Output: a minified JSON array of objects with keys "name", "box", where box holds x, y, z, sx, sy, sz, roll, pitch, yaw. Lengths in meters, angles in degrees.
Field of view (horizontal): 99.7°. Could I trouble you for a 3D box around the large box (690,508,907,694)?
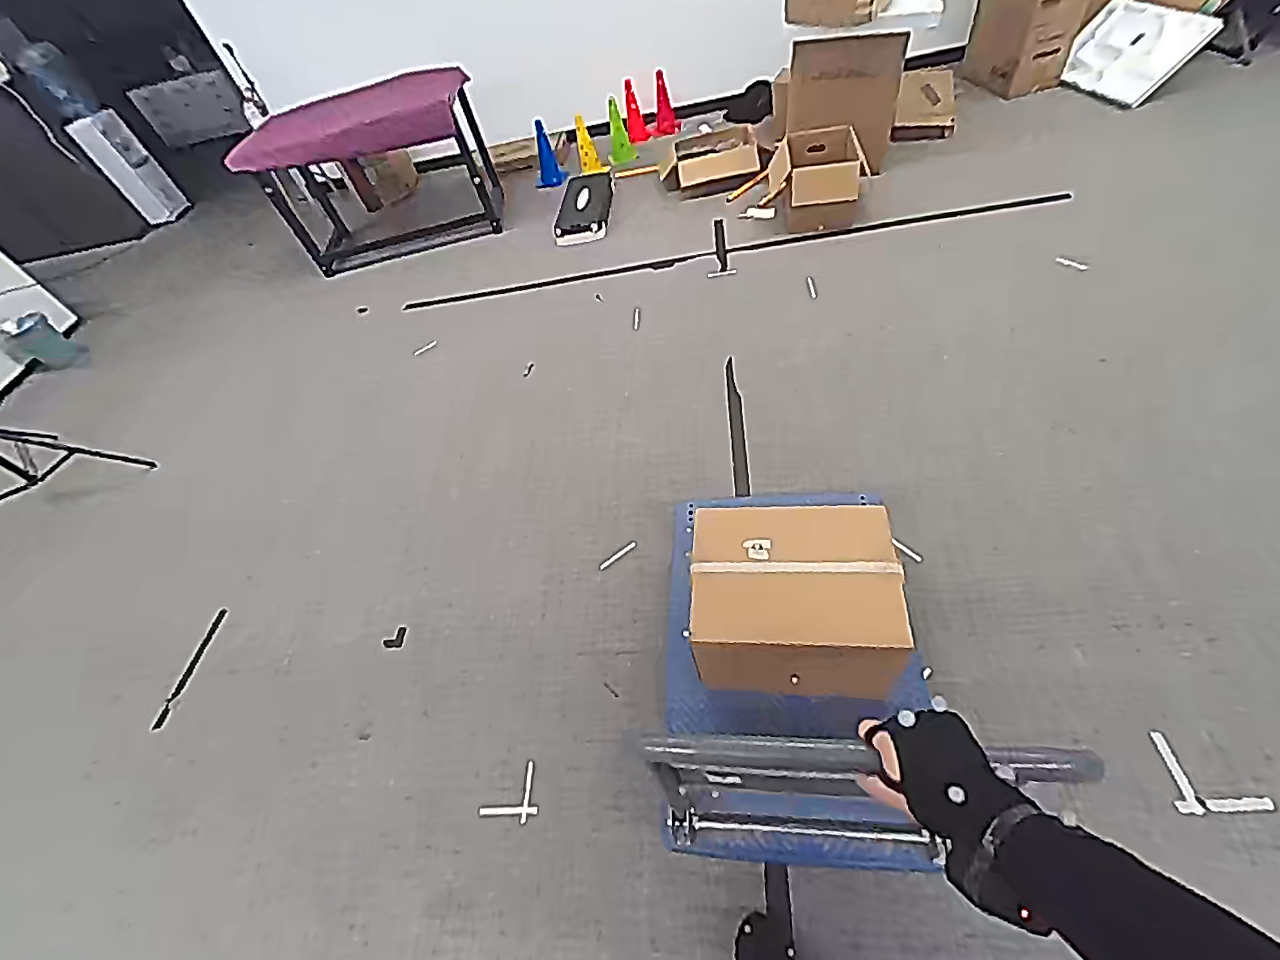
[{"name":"large box","box":[0.336,0.280,1.224,0.408,0.320,0.320,-2,51,13]}]
